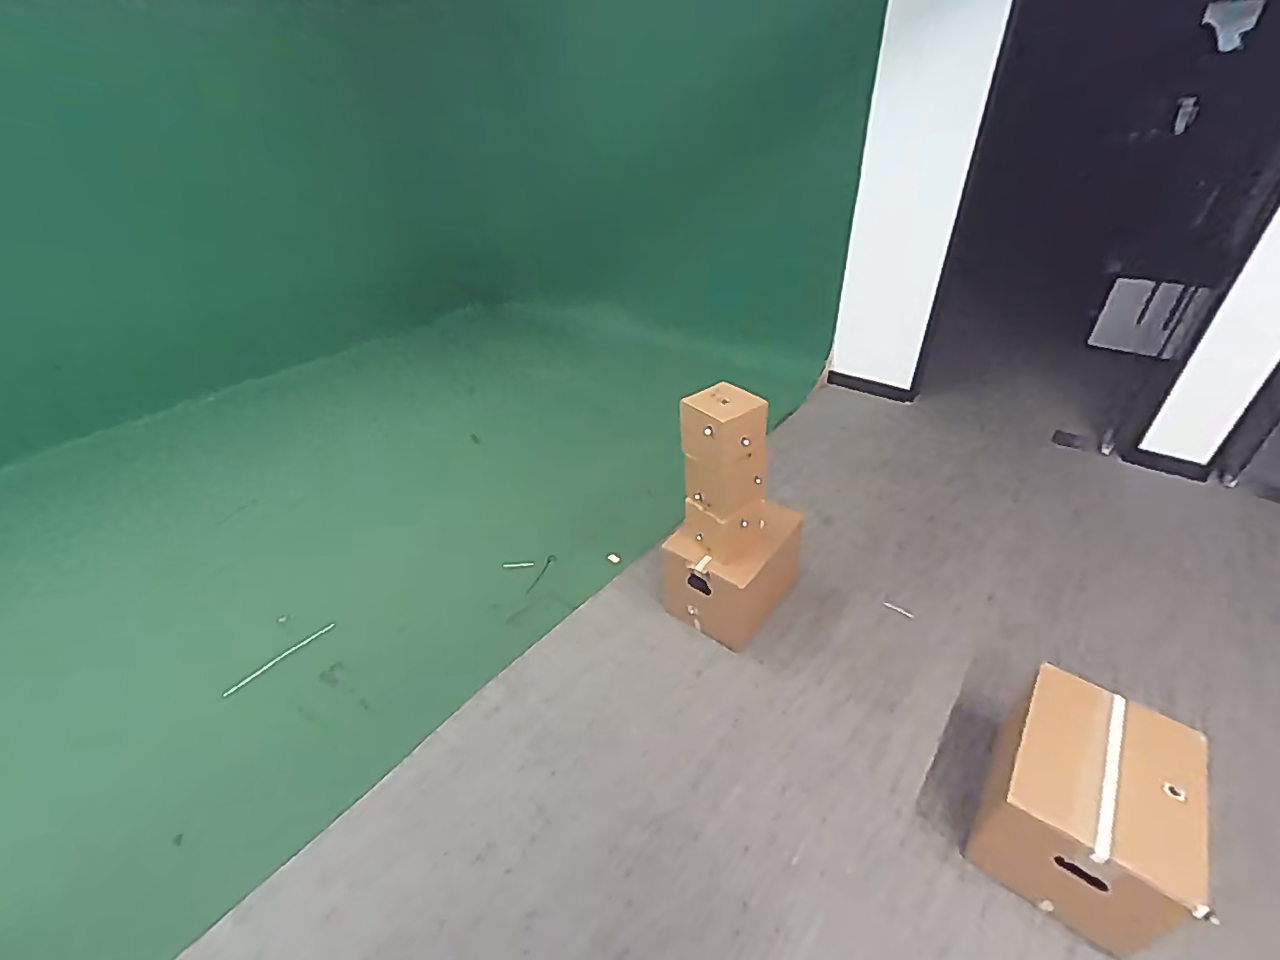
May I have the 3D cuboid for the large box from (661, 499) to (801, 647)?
[{"bbox_3d":[0.312,0.284,1.865,0.320,0.320,0.408,24,45,32],"label":"large box"}]

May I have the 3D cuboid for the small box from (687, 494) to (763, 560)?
[{"bbox_3d":[0.260,0.114,1.692,0.179,0.176,0.168,-29,43,-29],"label":"small box"}]

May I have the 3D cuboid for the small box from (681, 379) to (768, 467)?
[{"bbox_3d":[0.233,-0.154,1.507,0.168,0.176,0.179,-25,41,-26],"label":"small box"}]

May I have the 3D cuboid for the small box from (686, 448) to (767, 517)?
[{"bbox_3d":[0.253,-0.022,1.603,0.179,0.176,0.168,-27,41,-26],"label":"small box"}]
